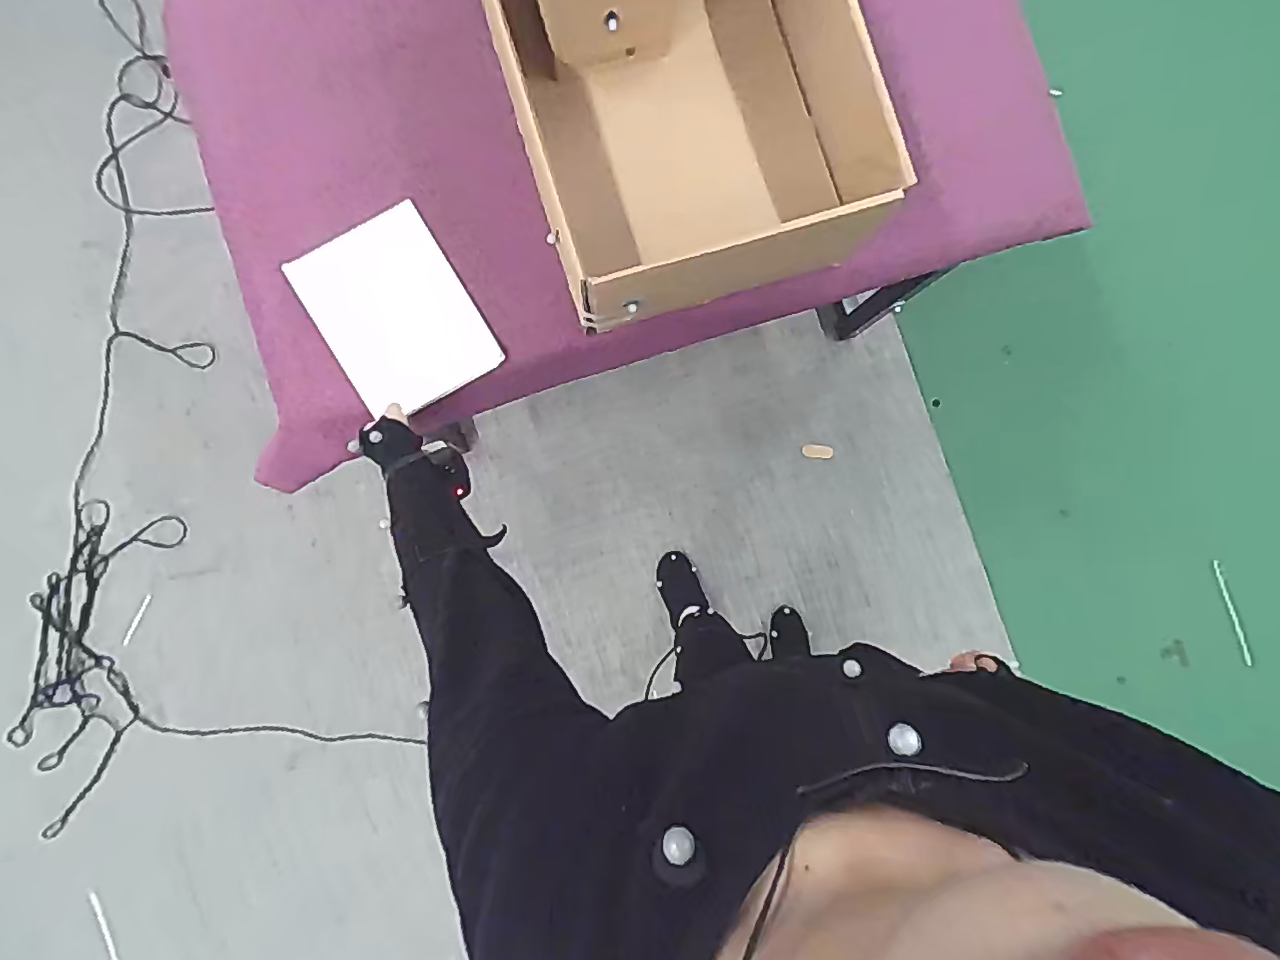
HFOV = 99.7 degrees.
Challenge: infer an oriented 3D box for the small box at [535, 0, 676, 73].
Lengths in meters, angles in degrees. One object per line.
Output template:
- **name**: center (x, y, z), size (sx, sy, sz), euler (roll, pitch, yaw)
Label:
- **small box**: center (-0.052, -0.644, 0.660), size (0.168, 0.176, 0.179), euler (-17, 89, -3)
